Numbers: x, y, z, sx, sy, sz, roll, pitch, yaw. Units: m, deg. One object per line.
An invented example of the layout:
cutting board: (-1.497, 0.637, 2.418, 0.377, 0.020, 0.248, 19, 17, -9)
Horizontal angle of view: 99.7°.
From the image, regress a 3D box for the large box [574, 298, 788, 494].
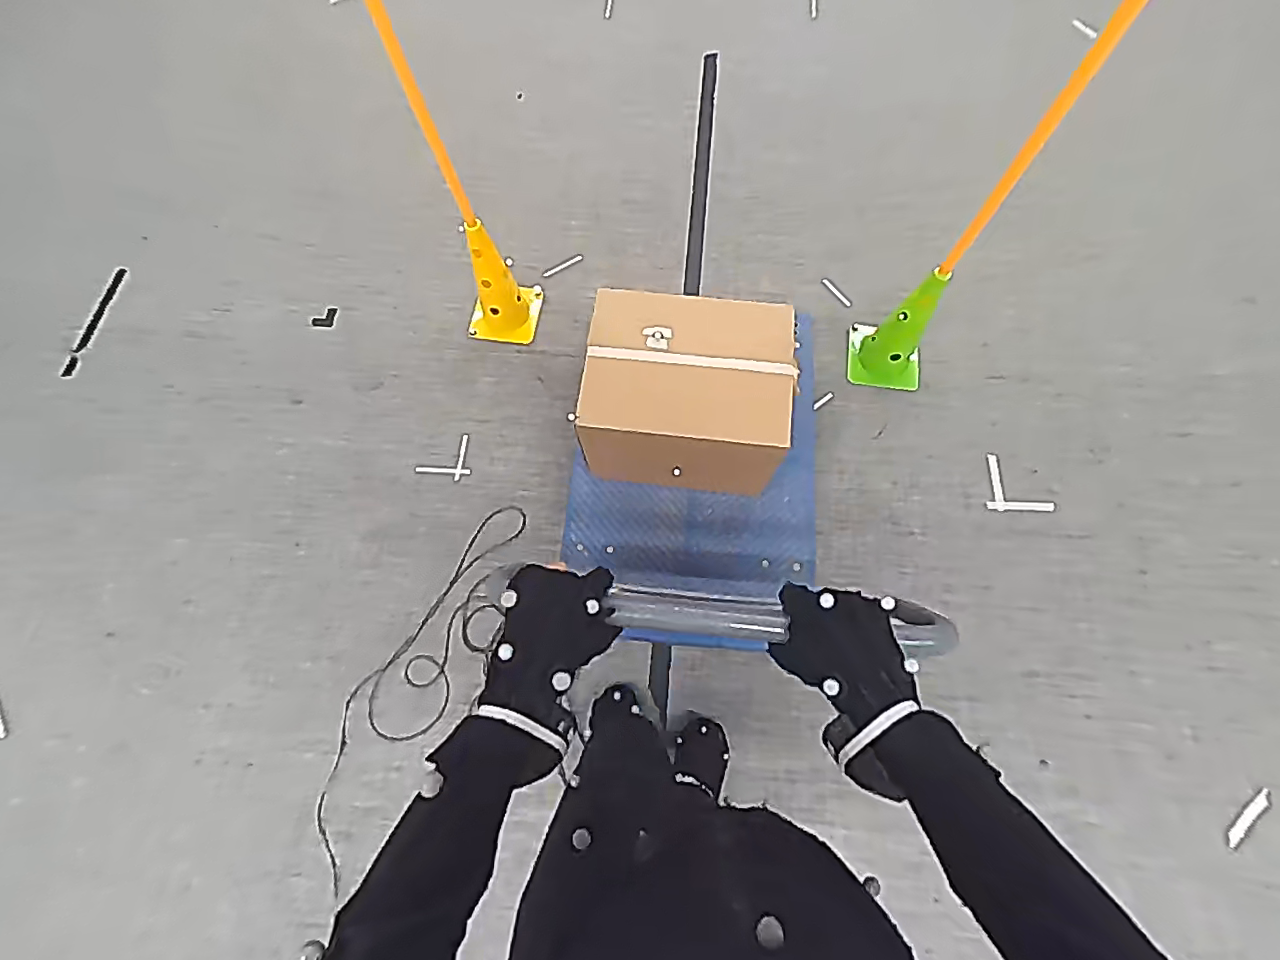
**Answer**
large box: (0.095, -0.170, 1.196, 0.408, 0.320, 0.320, 6, 71, 4)

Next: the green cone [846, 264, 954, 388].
green cone: (0.705, -0.424, 1.422, 0.202, 0.368, 0.200, 8, 71, 3)
